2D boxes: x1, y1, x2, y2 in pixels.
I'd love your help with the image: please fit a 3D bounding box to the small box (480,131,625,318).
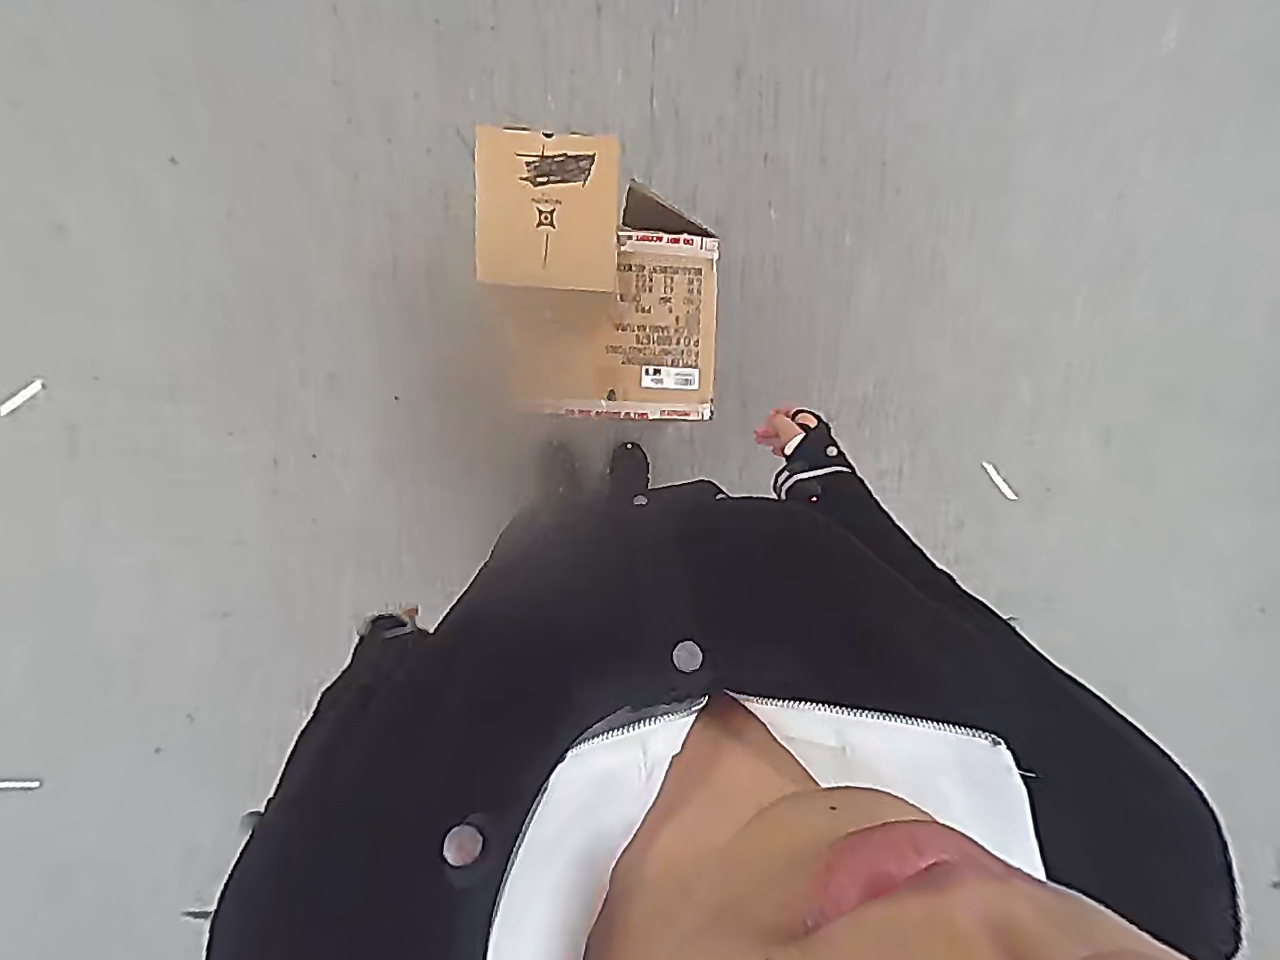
[{"bbox_3d":[-0.109,-0.319,0.710,0.168,0.176,0.179,2,99,-4],"label":"small box"}]
